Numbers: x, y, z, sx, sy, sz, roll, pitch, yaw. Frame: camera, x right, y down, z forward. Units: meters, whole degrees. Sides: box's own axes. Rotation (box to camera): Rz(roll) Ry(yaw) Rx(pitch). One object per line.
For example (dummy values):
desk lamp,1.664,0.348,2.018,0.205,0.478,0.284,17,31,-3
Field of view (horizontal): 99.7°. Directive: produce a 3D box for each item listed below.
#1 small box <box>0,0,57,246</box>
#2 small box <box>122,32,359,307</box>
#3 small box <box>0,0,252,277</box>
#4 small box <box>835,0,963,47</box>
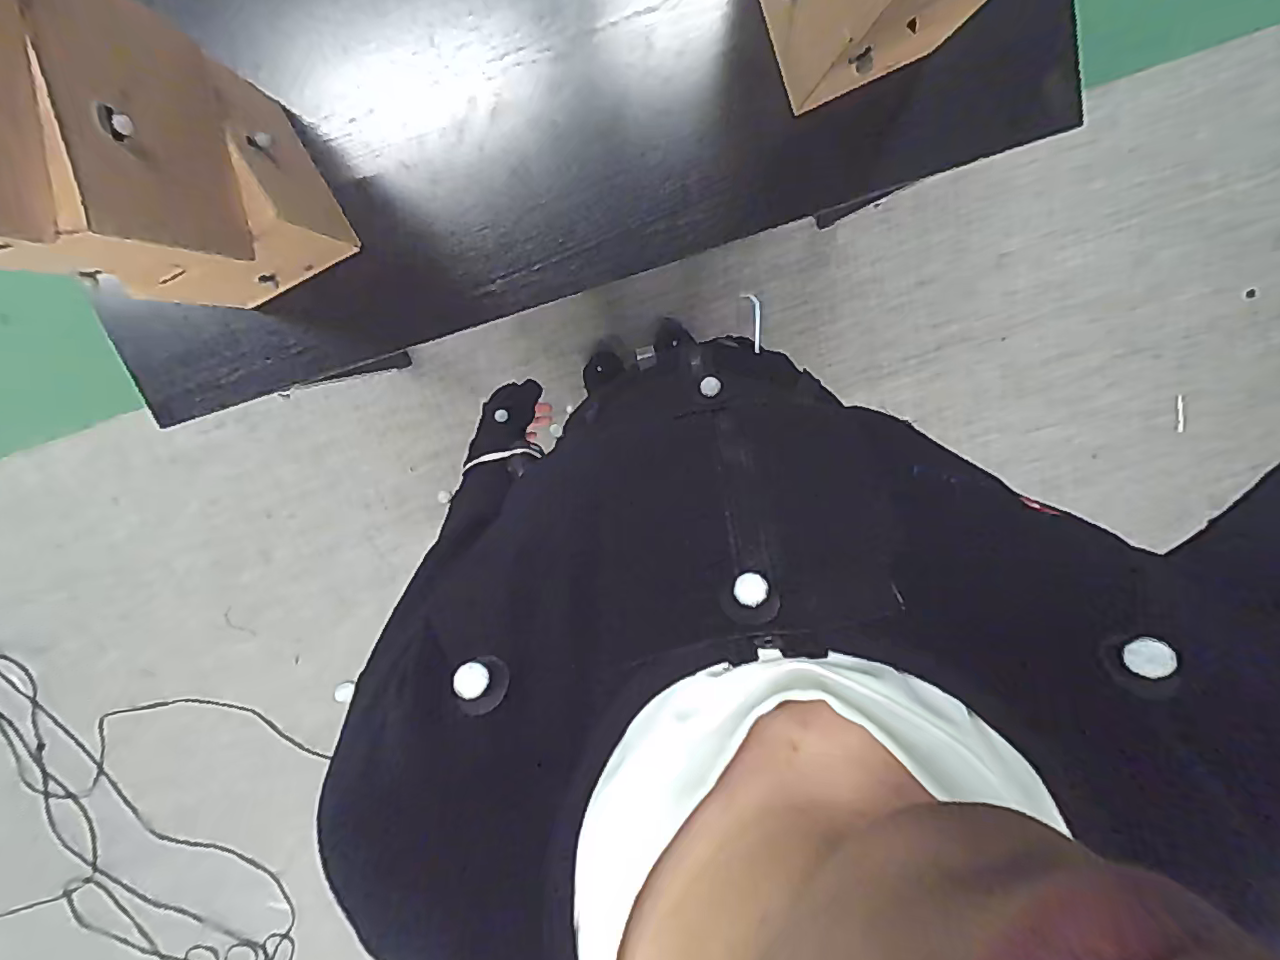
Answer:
small box,-0.437,-0.215,0.247,0.168,0.176,0.179,5,106,-5
small box,-0.441,-0.297,0.565,0.168,0.176,0.179,-26,105,5
small box,-0.439,-0.253,0.407,0.168,0.176,0.179,-5,105,-1
small box,0.224,-0.461,0.369,0.168,0.176,0.179,-25,104,5
